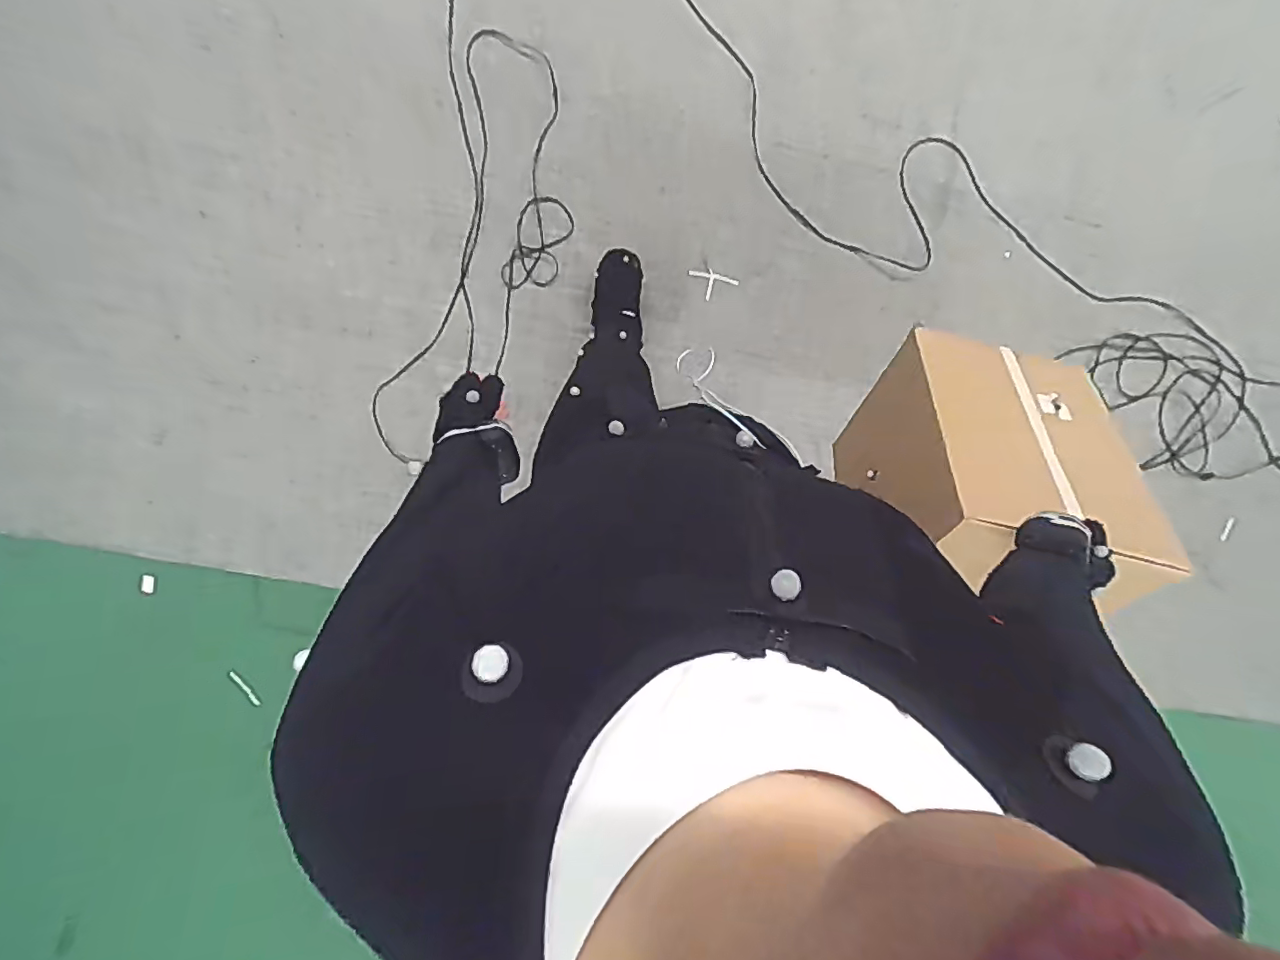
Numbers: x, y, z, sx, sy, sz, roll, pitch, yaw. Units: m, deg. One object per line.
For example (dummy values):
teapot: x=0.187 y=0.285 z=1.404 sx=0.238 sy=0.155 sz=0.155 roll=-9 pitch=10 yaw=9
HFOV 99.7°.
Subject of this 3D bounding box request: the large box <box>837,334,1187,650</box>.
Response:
large box: x=0.559 y=0.022 z=0.924 sx=0.320 sy=0.408 sz=0.320 roll=14 pitch=141 yaw=-2
